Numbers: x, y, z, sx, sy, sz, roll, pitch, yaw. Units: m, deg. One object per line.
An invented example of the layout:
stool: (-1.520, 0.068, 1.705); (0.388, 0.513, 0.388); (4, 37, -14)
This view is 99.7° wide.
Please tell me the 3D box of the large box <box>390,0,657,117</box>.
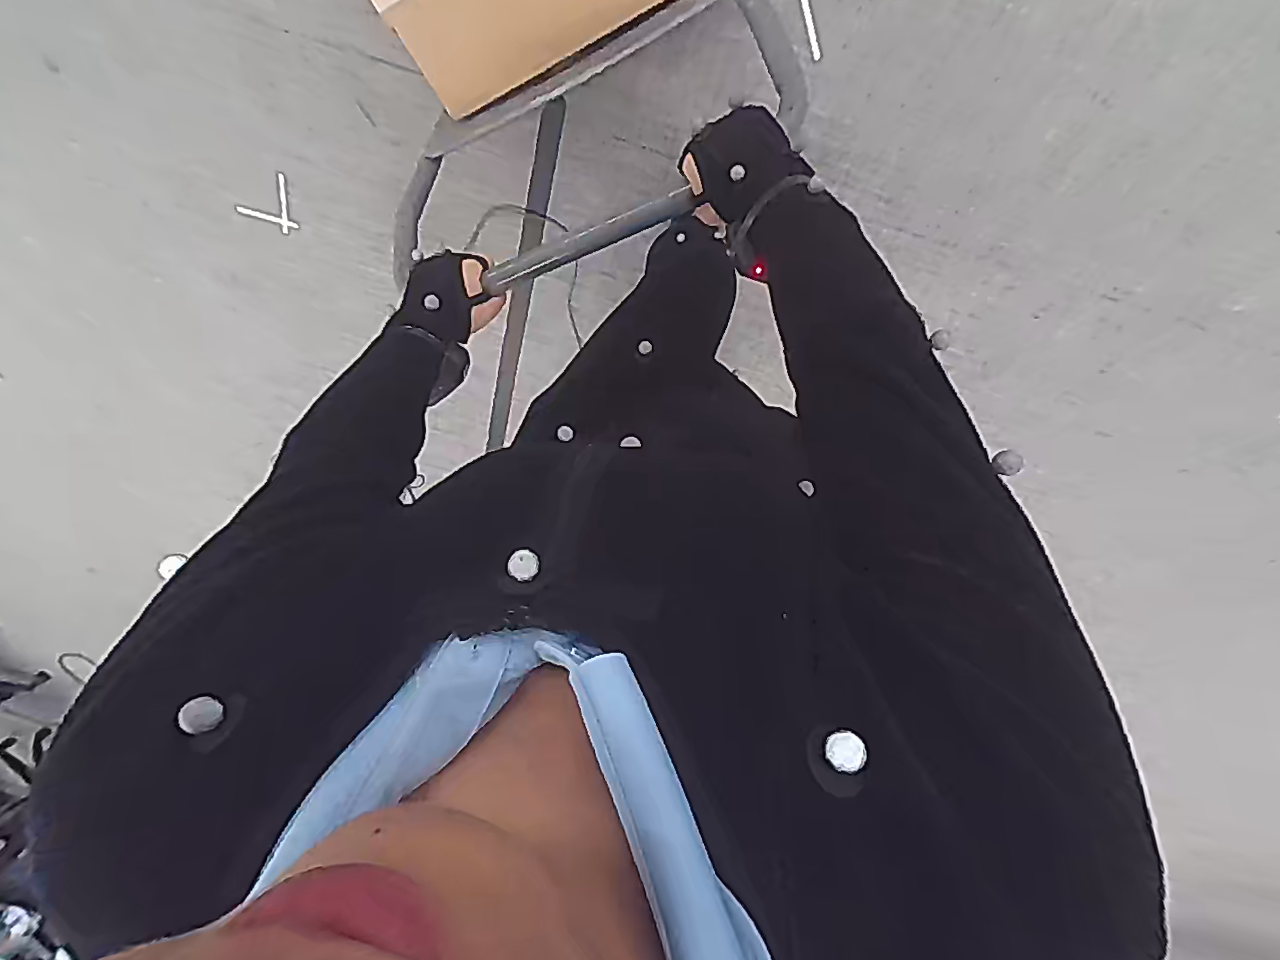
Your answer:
large box: (-0.161, -0.808, 0.756); (0.408, 0.320, 0.320); (-18, 138, 17)
